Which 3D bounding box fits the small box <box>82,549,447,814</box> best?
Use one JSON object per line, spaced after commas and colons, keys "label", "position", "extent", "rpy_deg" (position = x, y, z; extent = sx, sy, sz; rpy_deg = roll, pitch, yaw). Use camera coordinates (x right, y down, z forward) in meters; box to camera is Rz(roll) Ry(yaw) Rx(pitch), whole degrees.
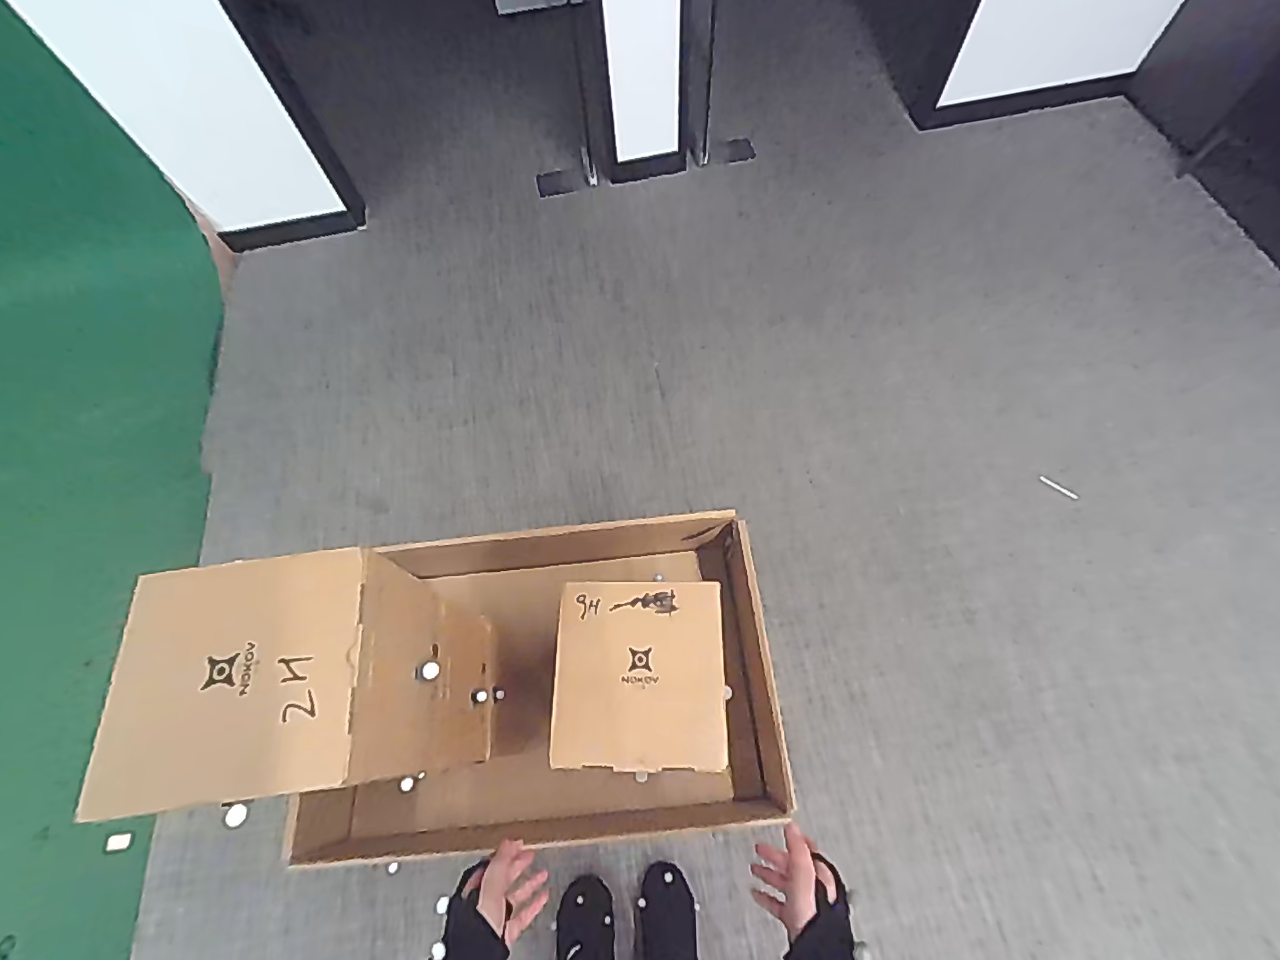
{"label": "small box", "position": [-0.282, 0.170, 0.457], "extent": [0.179, 0.176, 0.168], "rpy_deg": [-6, 66, -2]}

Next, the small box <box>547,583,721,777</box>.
{"label": "small box", "position": [0.001, 0.220, 0.600], "extent": [0.168, 0.176, 0.179], "rpy_deg": [1, 66, 3]}

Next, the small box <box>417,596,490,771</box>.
{"label": "small box", "position": [-0.280, 0.237, 0.607], "extent": [0.179, 0.176, 0.168], "rpy_deg": [-6, 65, -2]}
